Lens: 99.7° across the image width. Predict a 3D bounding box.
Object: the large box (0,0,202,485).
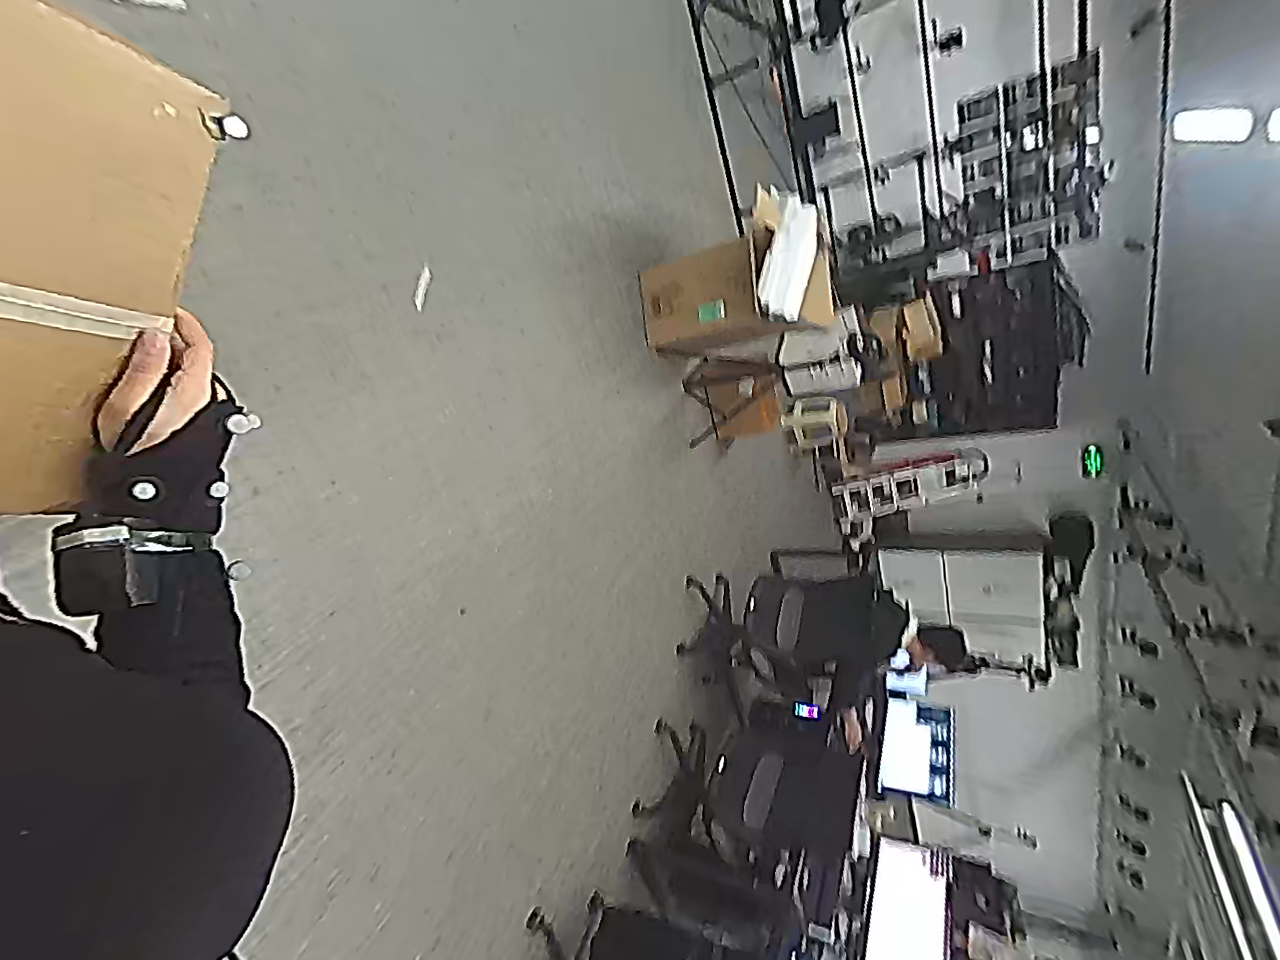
[{"bbox_3d":[-0.555,-0.203,0.284,0.408,0.320,0.320,0,125,-58],"label":"large box"}]
